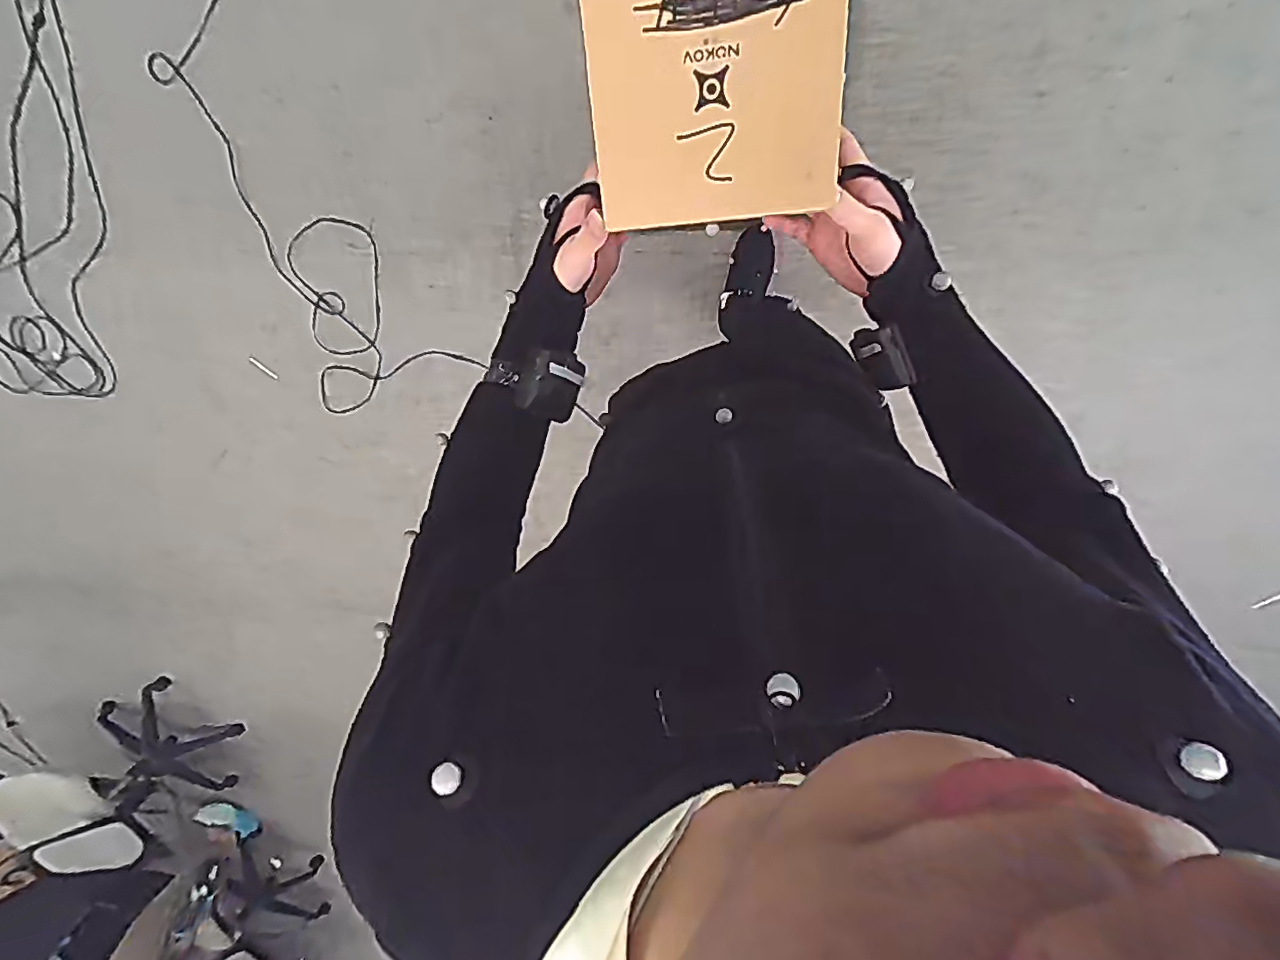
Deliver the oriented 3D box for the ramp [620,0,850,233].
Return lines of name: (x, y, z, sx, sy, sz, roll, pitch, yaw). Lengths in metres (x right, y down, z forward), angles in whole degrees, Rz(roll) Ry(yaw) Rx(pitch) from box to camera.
ramp: (0.199, -1.068, 1.134, 0.509, 0.206, 0.991, 0, 112, 7)
